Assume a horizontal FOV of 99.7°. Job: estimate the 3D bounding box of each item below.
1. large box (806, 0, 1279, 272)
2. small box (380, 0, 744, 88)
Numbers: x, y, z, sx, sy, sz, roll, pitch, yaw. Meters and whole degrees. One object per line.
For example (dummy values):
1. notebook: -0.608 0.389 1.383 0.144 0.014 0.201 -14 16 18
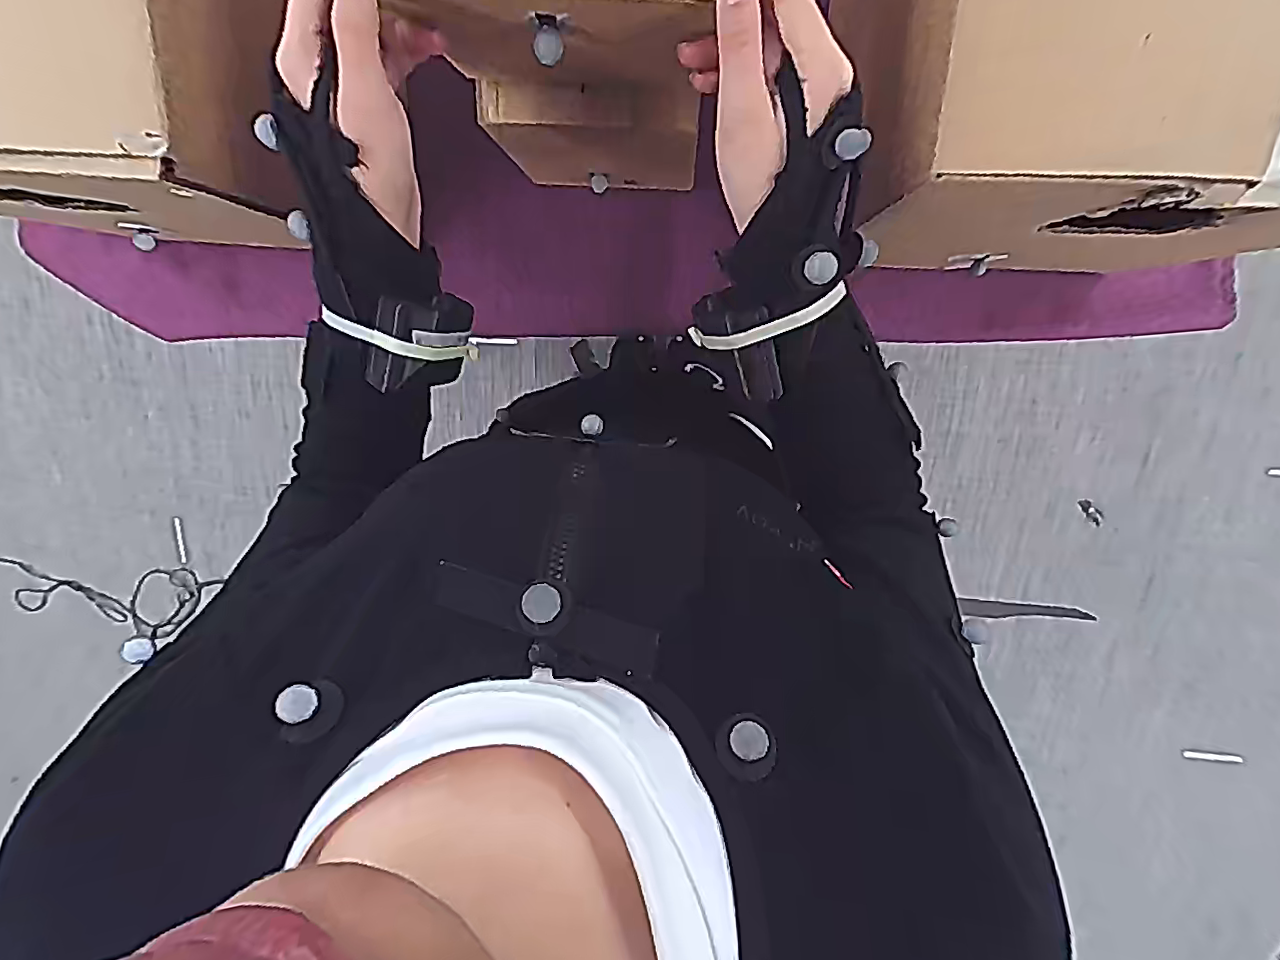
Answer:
1. large box: 0.310 -0.368 0.357 0.320 0.320 0.408 3 104 3
2. small box: -0.033 -0.322 0.278 0.179 0.176 0.168 4 115 1
